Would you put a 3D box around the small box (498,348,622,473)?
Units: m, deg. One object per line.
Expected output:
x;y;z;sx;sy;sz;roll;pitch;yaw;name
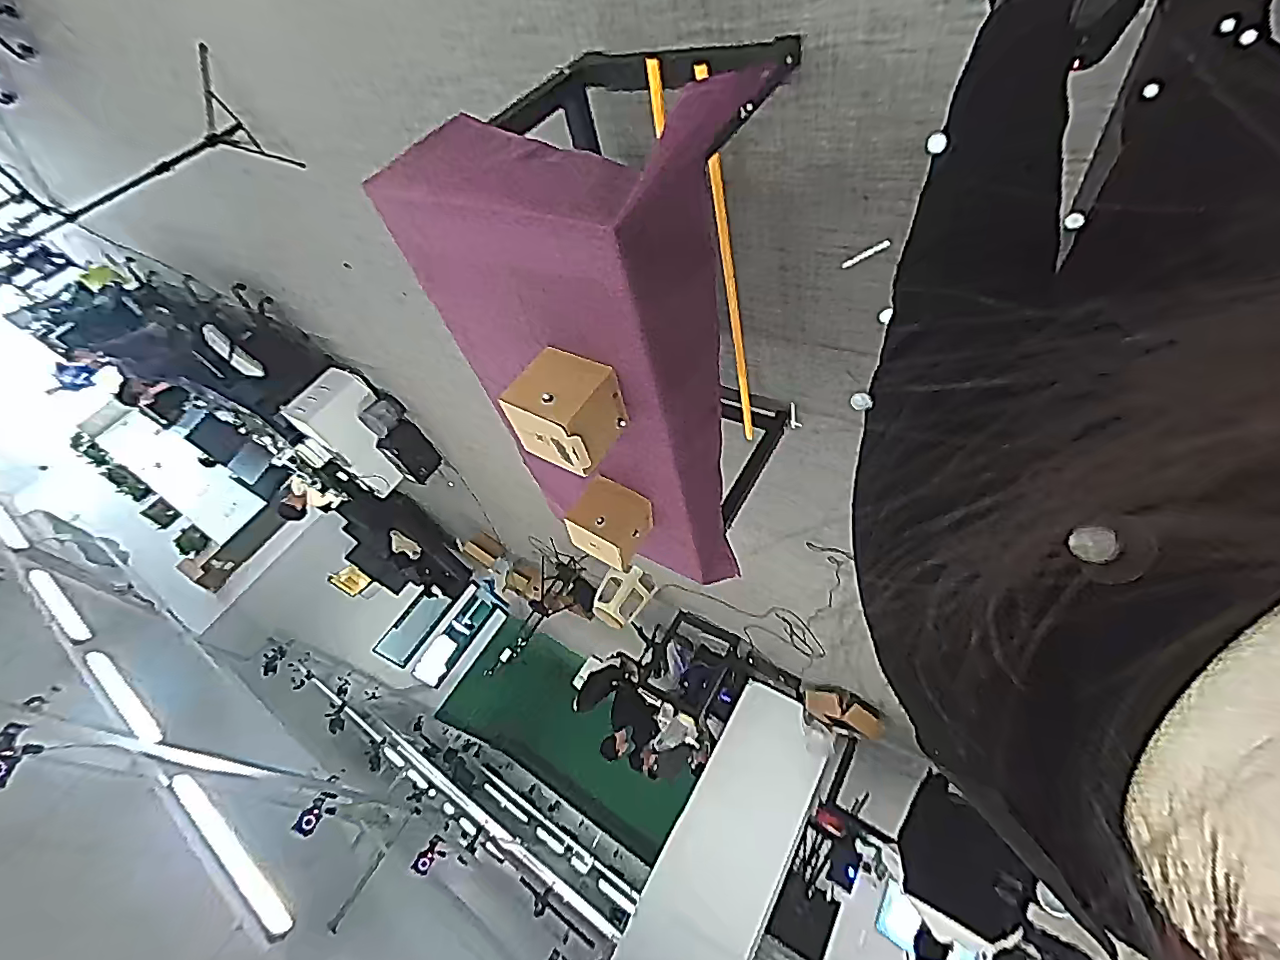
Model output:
-0.152;-0.149;1.121;0.179;0.176;0.168;24;153;26;small box

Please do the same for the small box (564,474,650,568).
-0.082;0.110;1.500;0.179;0.176;0.168;27;153;18;small box
